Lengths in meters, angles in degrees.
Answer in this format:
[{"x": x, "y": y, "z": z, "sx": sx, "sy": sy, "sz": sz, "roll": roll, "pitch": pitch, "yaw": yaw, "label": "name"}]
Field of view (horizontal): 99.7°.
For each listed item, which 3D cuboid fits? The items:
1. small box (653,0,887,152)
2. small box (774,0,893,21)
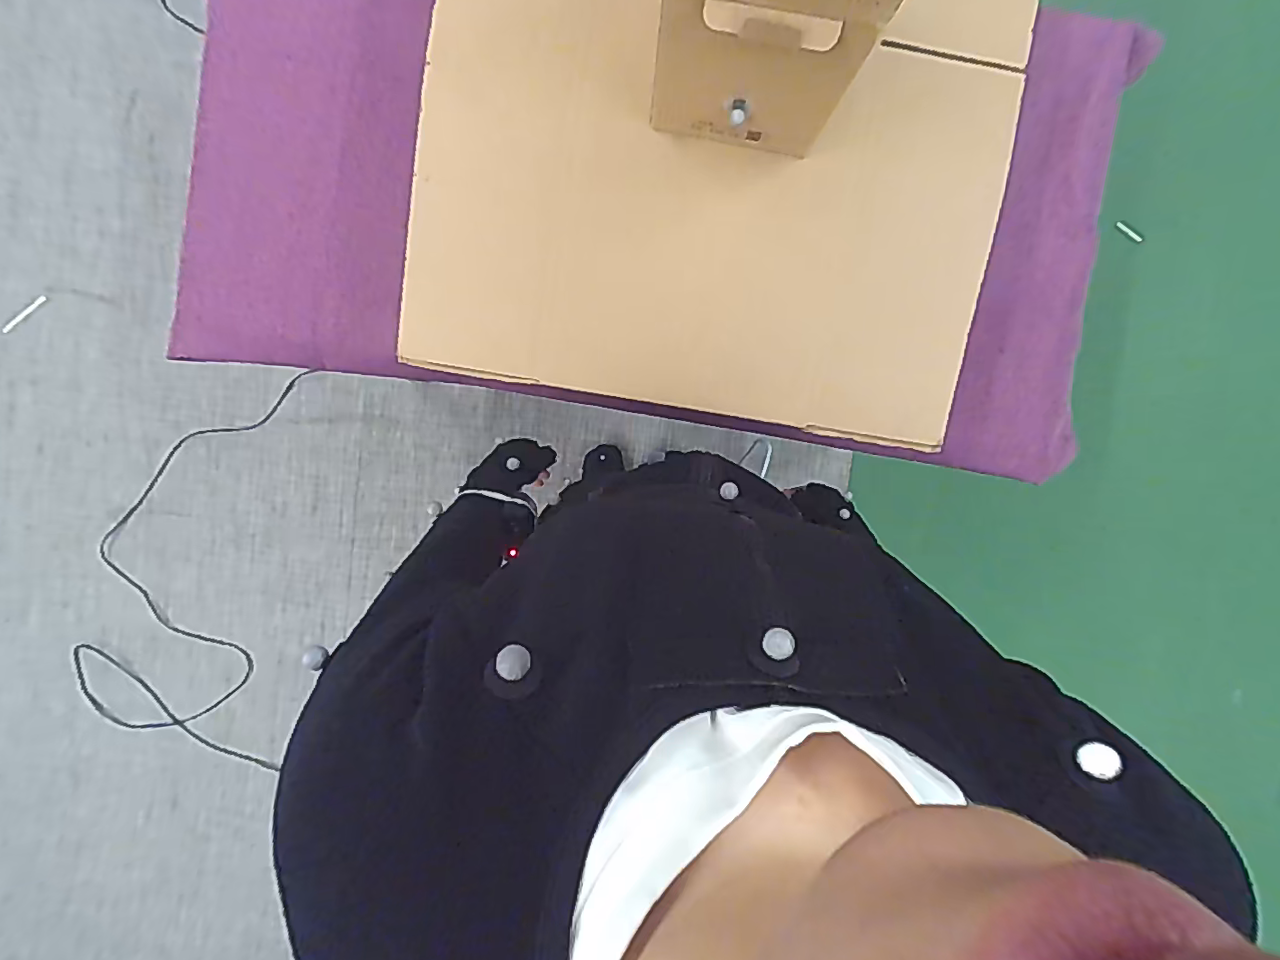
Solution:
[{"x": 0.107, "y": -0.430, "z": 0.466, "sx": 0.168, "sy": 0.176, "sz": 0.179, "roll": 9, "pitch": 92, "yaw": -3, "label": "small box"}, {"x": 0.115, "y": -0.424, "z": 0.304, "sx": 0.168, "sy": 0.176, "sz": 0.179, "roll": 8, "pitch": 92, "yaw": -4, "label": "small box"}]
